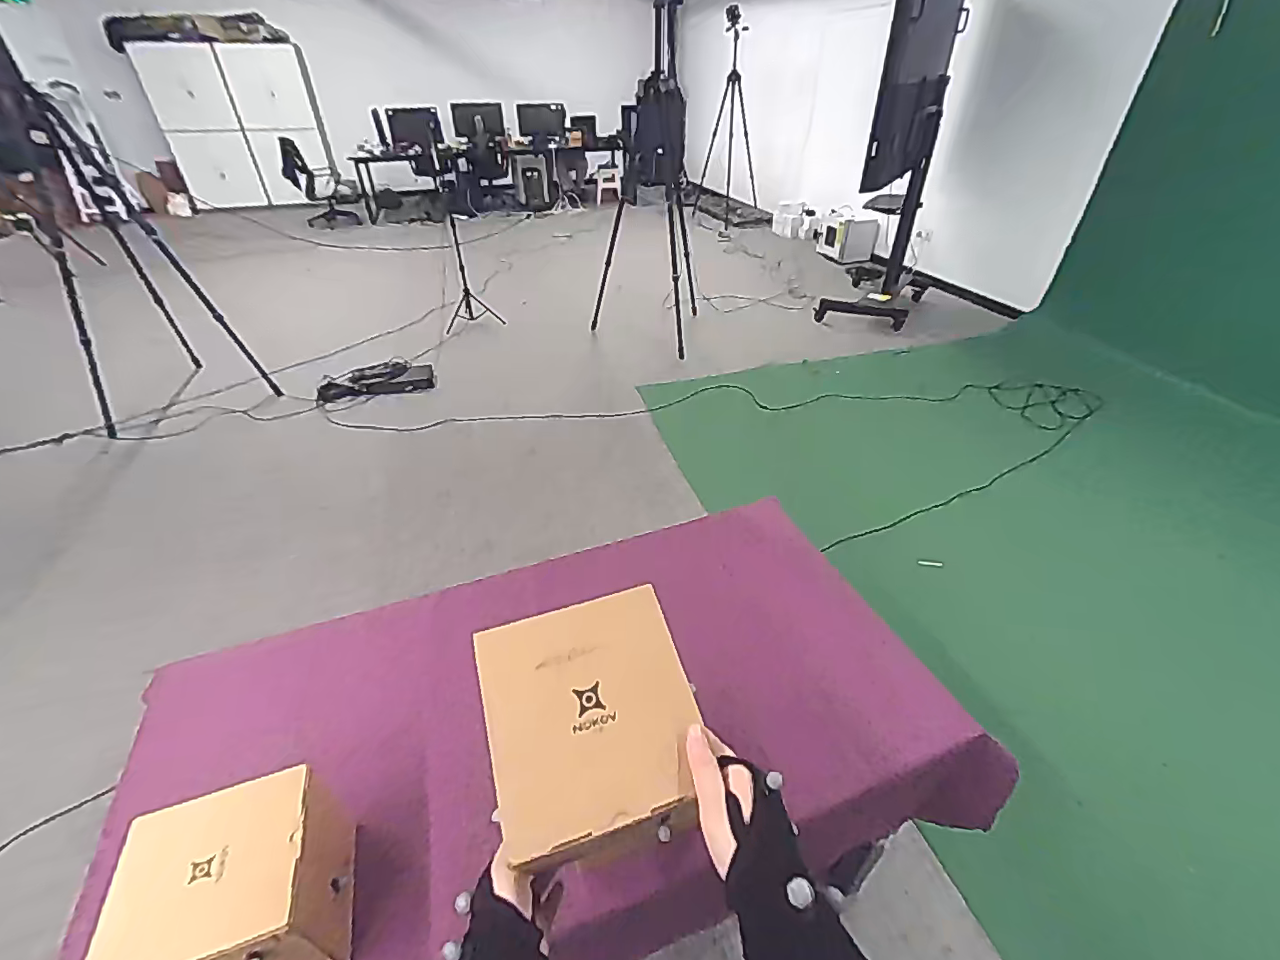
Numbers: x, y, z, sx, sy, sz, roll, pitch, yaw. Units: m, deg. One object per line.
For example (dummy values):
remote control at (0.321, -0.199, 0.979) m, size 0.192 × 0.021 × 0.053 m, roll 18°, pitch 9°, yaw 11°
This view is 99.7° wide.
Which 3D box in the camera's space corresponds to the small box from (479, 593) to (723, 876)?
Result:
small box at (-0.041, 0.234, 0.496) m, size 0.168 × 0.176 × 0.179 m, roll -12°, pitch 54°, yaw -13°

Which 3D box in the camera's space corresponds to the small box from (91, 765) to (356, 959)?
small box at (-0.440, 0.463, 0.601) m, size 0.179 × 0.176 × 0.168 m, roll -12°, pitch 38°, yaw -17°
